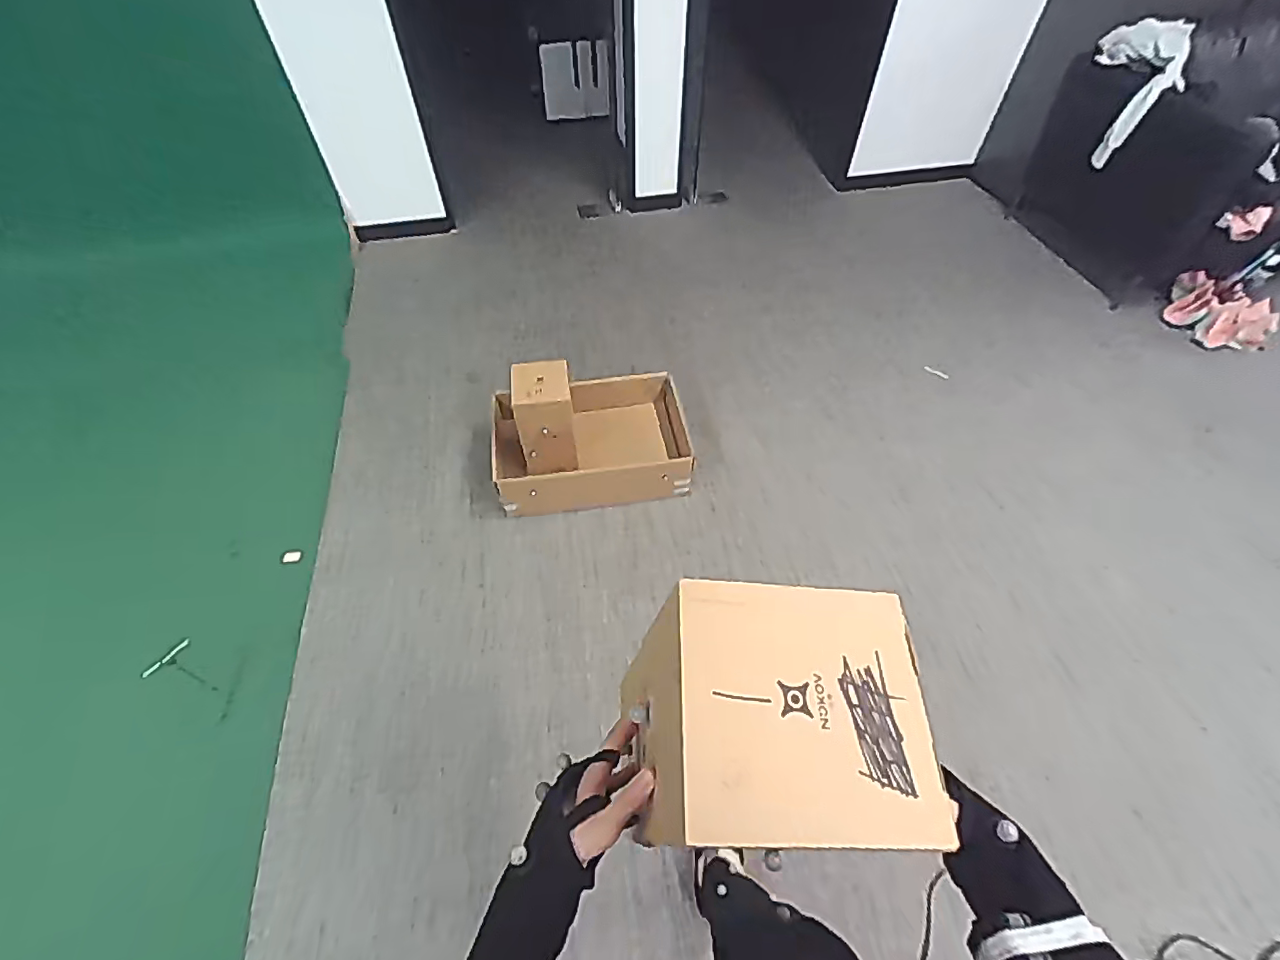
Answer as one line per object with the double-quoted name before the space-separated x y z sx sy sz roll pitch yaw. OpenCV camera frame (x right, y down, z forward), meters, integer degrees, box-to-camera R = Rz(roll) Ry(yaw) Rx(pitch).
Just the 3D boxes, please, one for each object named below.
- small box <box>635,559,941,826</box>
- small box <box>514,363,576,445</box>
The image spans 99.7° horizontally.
"small box" 0.096 0.179 0.438 0.179 0.176 0.168 5 57 -6
"small box" -0.285 -0.230 1.642 0.168 0.176 0.179 -6 54 -4
